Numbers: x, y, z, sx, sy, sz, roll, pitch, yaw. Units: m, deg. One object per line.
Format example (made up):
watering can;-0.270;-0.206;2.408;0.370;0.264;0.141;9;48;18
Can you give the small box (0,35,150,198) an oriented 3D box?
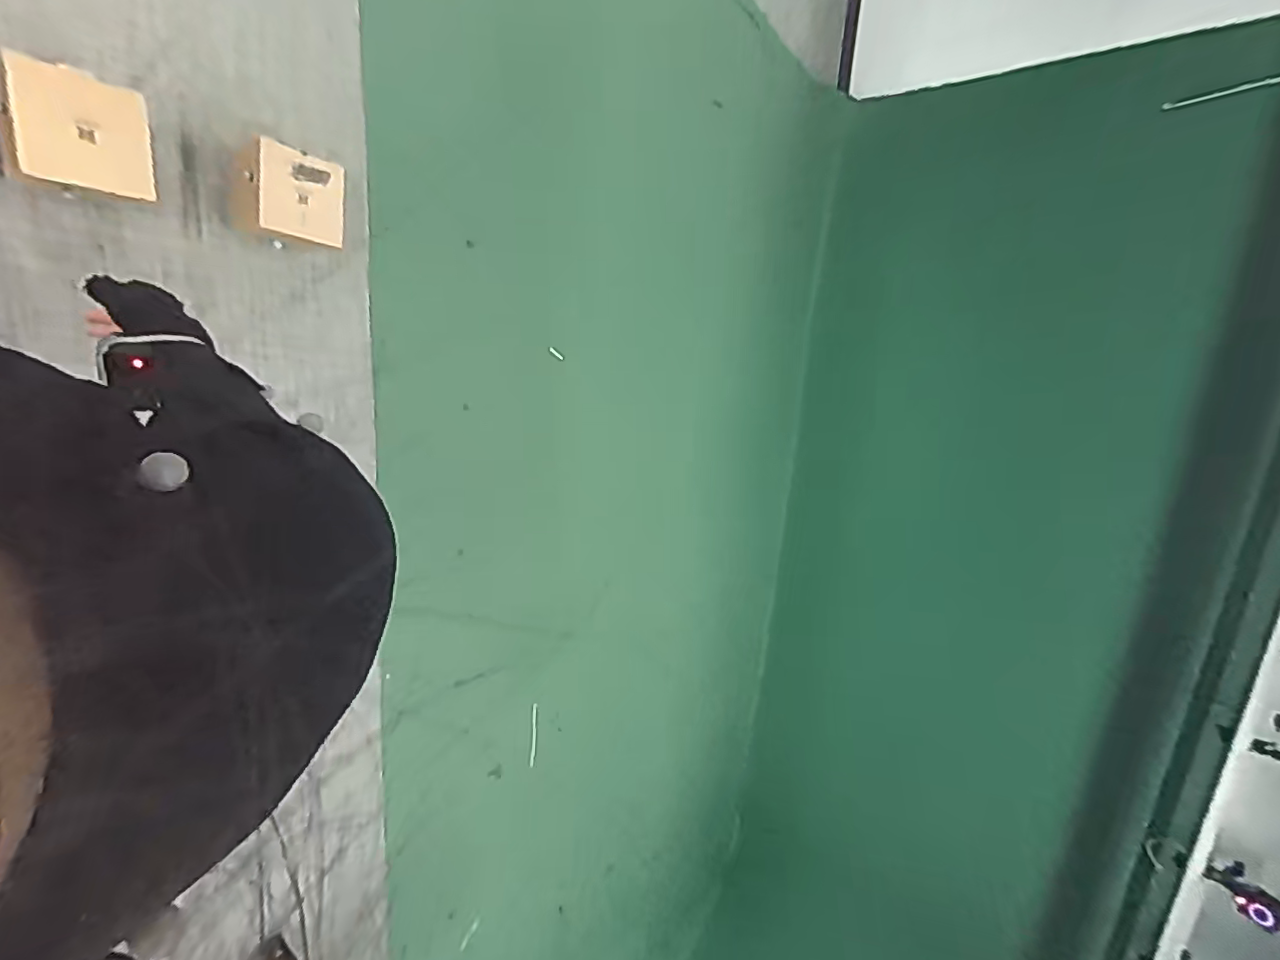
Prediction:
small box;-0.973;-0.600;0.923;0.168;0.176;0.179;-13;111;-53

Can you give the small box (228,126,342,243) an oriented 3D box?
small box;-0.778;-0.633;1.183;0.168;0.176;0.179;-6;107;-53
